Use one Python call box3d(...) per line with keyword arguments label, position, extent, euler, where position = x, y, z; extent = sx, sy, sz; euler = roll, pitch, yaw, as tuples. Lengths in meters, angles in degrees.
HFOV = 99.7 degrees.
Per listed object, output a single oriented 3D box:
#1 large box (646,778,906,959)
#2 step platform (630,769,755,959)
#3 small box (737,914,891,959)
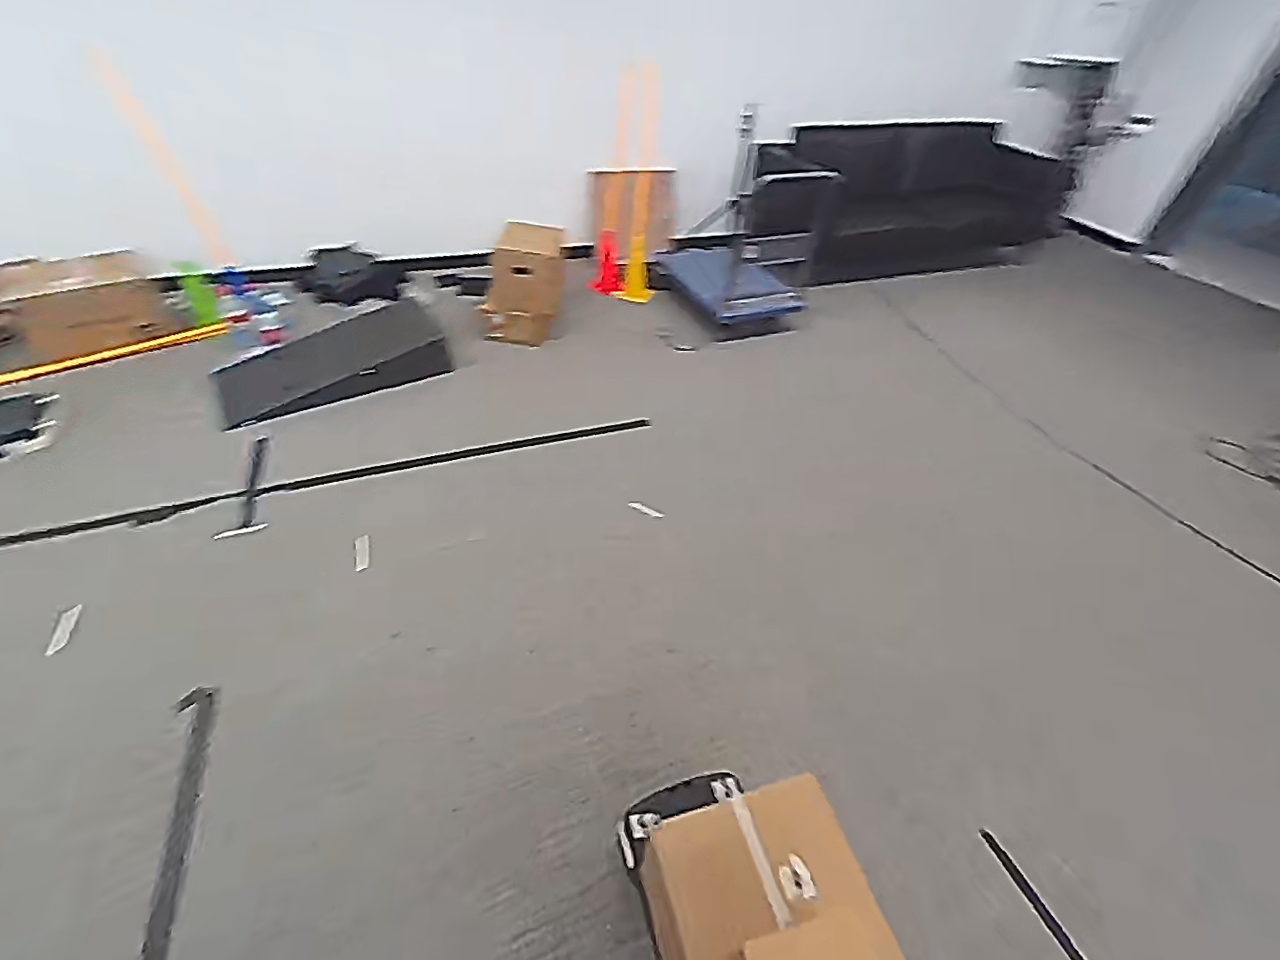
box3d(label="large box", position=(0.217, 0.793, 0.888), extent=(0.320, 0.320, 0.408), euler=(-8, 43, -15))
box3d(label="step platform", position=(0.186, 0.956, 1.061), extent=(0.286, 0.204, 0.684), euler=(-7, 43, -12))
box3d(label="small box", position=(0.227, 0.671, 0.660), extent=(0.168, 0.176, 0.179), euler=(-7, 43, -11))
